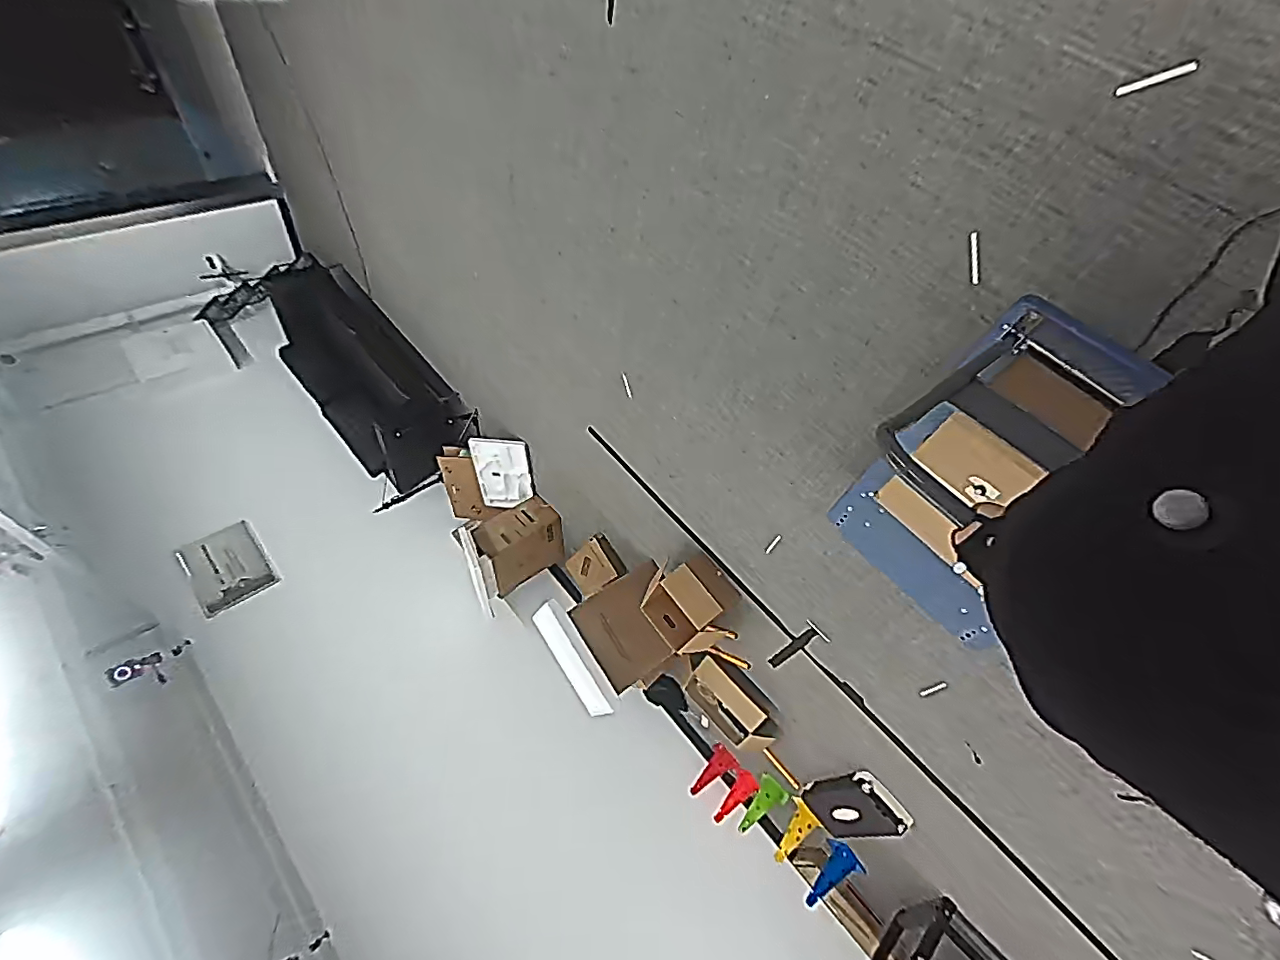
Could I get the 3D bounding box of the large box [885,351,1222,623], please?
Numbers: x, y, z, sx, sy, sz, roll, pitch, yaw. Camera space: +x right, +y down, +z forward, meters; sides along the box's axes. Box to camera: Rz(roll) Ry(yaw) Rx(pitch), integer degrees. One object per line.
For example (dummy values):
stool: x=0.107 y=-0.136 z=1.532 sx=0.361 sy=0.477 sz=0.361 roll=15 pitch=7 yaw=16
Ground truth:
large box: x=0.827 y=0.007 z=1.123 sx=0.408 sy=0.320 sz=0.320 roll=47 pitch=148 yaw=21
